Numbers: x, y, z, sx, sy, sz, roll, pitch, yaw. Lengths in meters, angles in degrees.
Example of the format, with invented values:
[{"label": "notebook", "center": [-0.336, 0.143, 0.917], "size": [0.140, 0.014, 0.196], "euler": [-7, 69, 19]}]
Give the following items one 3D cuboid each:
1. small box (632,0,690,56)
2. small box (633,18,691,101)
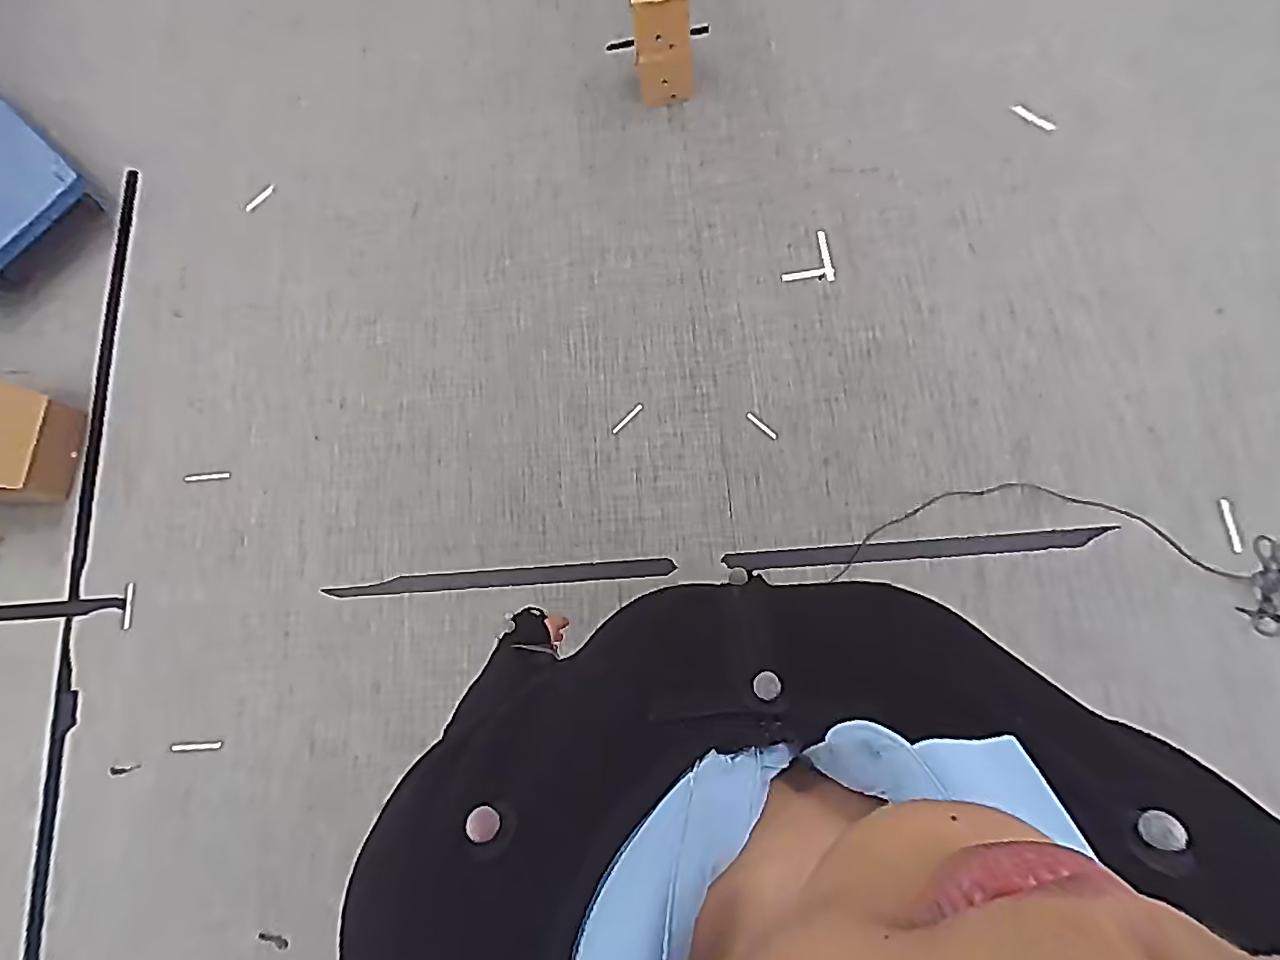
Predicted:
[{"label": "small box", "center": [0.062, -1.427, 1.618], "size": [0.168, 0.176, 0.179], "euler": [-6, 79, 5]}, {"label": "small box", "center": [0.076, -1.385, 1.775], "size": [0.168, 0.176, 0.179], "euler": [-8, 77, 4]}]
